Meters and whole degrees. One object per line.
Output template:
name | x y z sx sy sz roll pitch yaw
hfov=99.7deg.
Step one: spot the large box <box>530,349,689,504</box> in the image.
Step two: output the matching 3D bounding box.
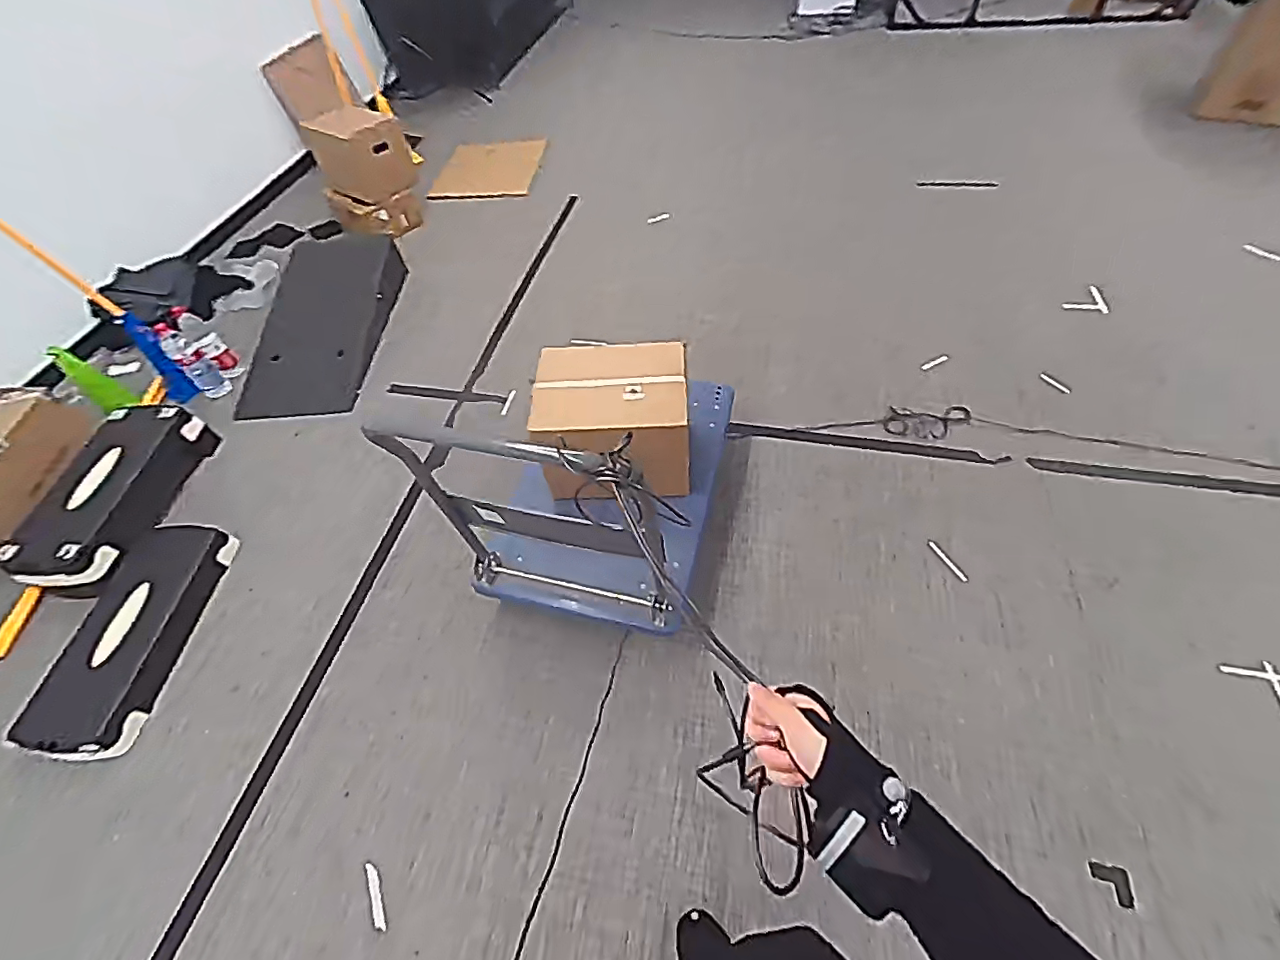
large box | -0.069 -0.146 1.542 0.408 0.320 0.320 -2 54 4
